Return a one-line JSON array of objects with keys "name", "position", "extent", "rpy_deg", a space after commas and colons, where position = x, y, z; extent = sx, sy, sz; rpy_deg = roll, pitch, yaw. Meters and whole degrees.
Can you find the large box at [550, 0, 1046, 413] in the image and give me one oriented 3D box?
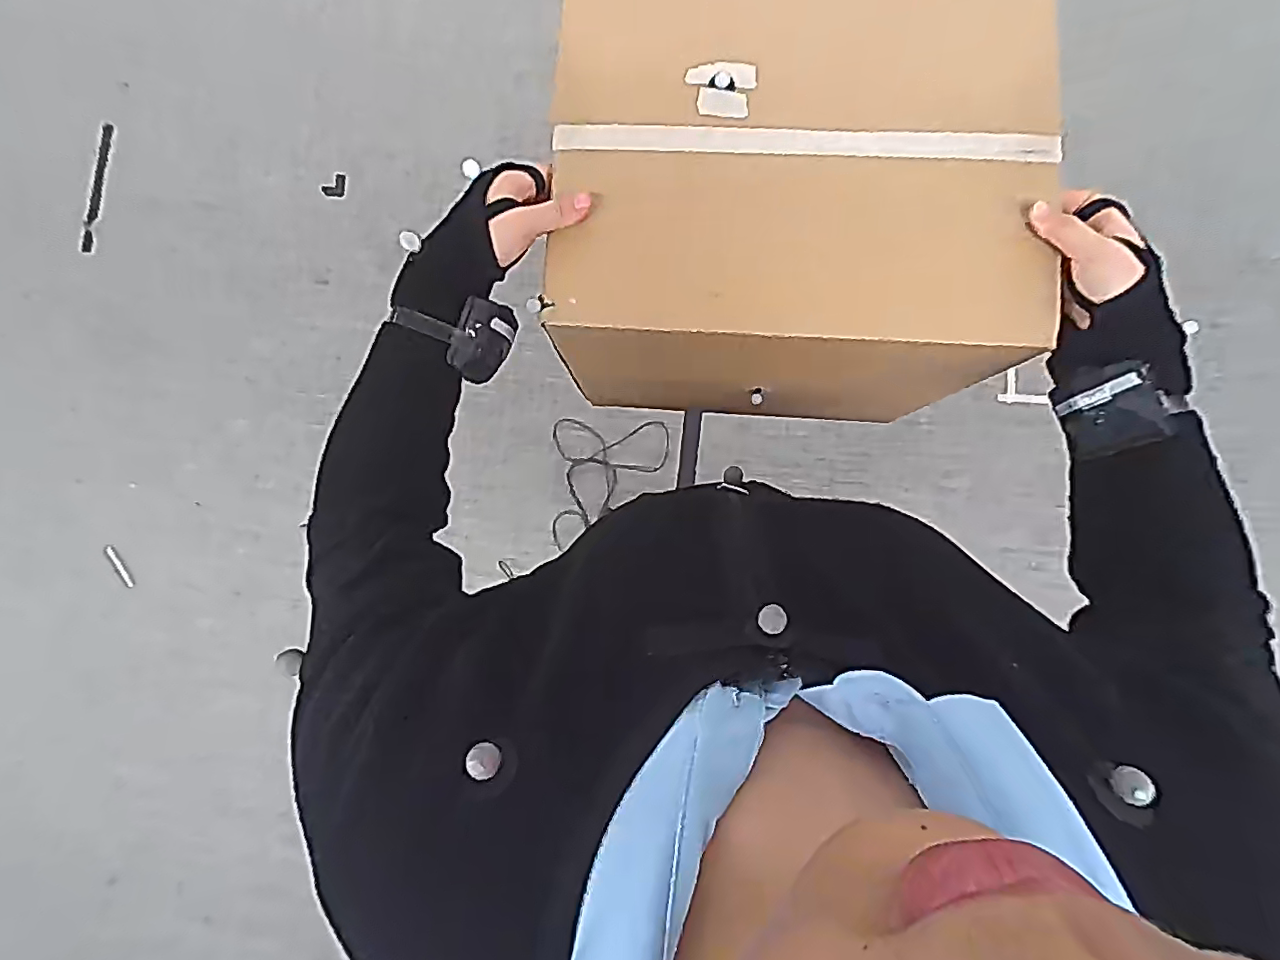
[{"name": "large box", "position": [0.140, -0.257, 0.598], "extent": [0.408, 0.320, 0.320], "rpy_deg": [3, 84, 4]}]
